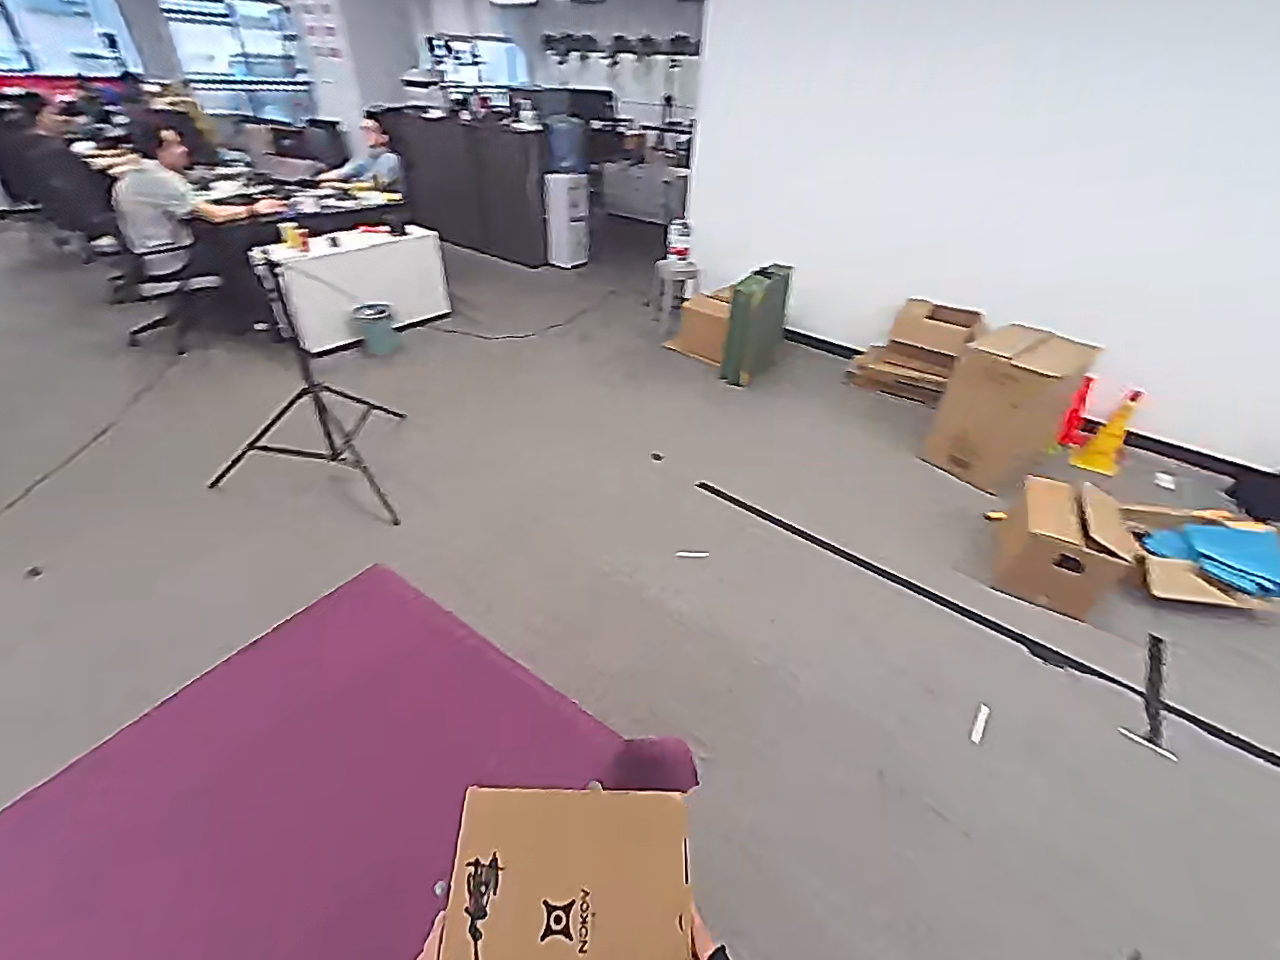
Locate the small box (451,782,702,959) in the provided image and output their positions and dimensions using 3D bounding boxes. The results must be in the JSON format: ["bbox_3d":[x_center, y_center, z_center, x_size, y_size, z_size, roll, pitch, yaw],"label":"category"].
[{"bbox_3d":[-0.053,0.357,0.448,0.179,0.176,0.168,5,54,-6],"label":"small box"}]
